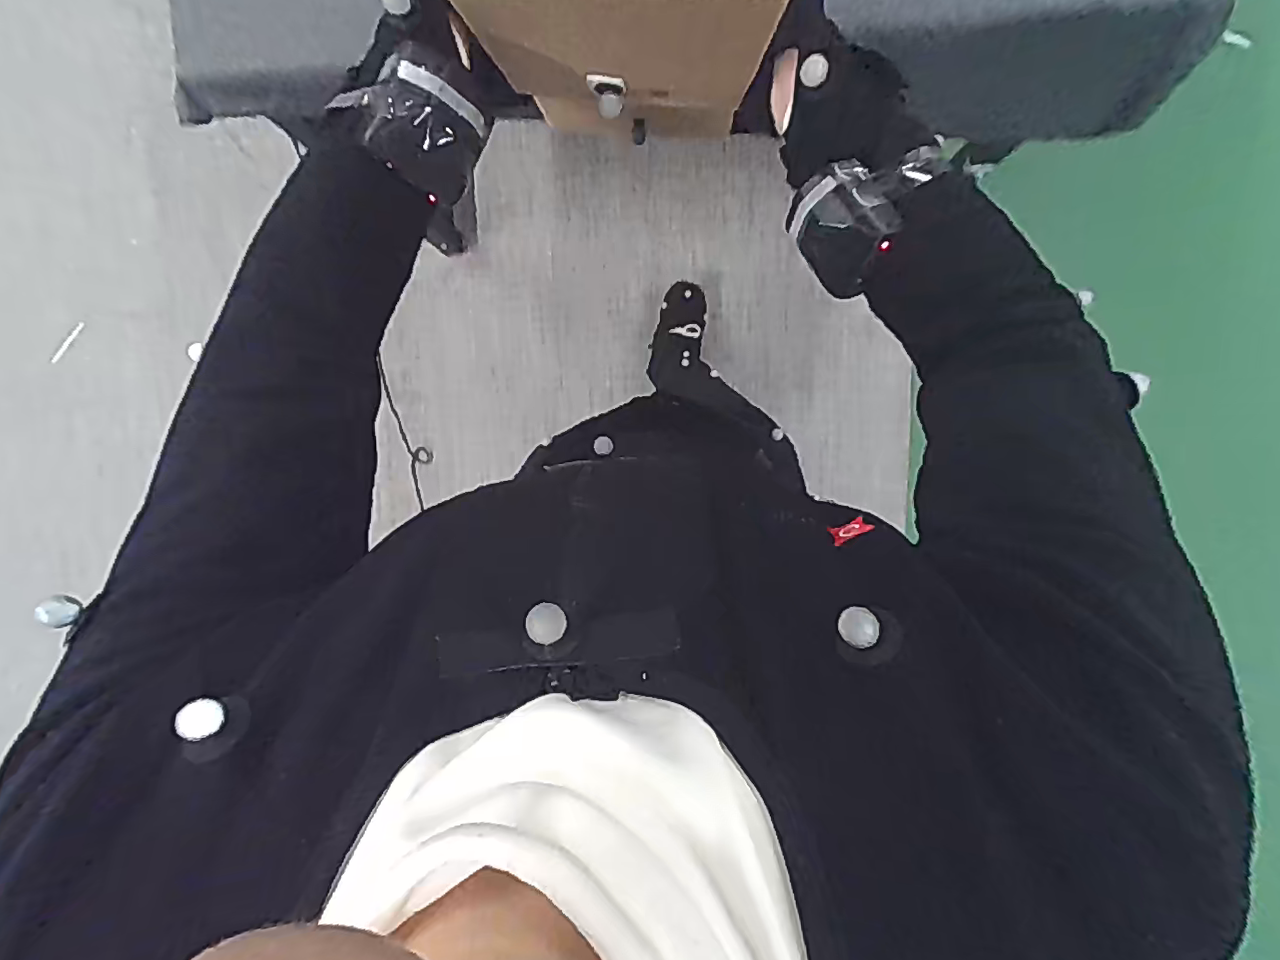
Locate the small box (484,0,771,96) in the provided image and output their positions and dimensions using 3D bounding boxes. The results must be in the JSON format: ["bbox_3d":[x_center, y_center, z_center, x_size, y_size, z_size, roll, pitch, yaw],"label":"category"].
[{"bbox_3d":[-0.008,-0.344,0.294,0.168,0.176,0.179,4,110,1],"label":"small box"}]

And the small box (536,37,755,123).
[{"bbox_3d":[-0.001,-0.413,0.443,0.179,0.176,0.168,2,108,0],"label":"small box"}]
